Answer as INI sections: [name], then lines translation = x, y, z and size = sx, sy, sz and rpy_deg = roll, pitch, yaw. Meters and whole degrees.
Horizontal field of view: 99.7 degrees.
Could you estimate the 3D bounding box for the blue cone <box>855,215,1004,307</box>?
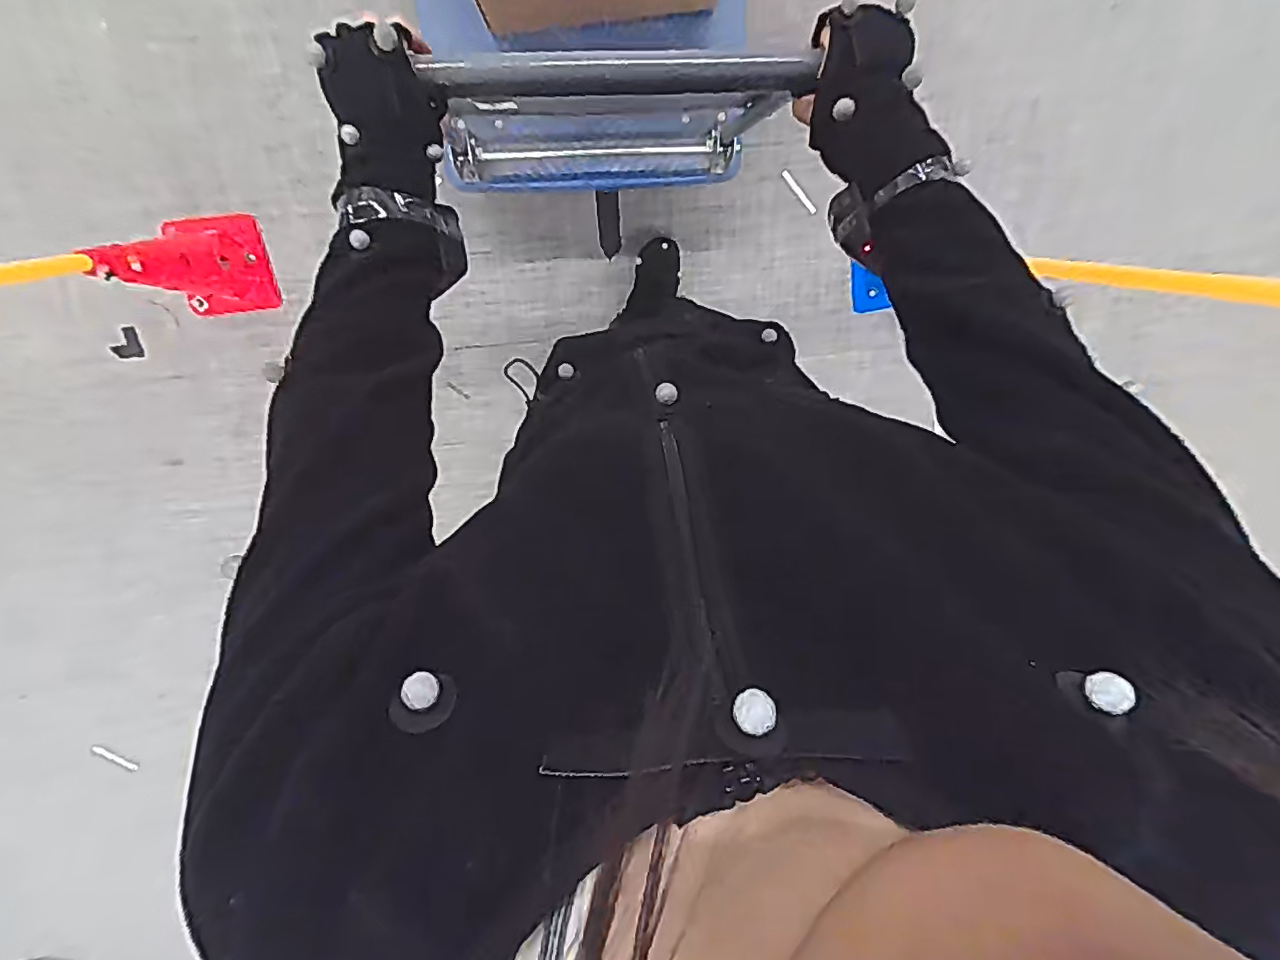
[blue cone]
translation = 0.633, -0.475, 1.162
size = 0.193, 0.380, 0.192
rpy_deg = -10, 110, -2
